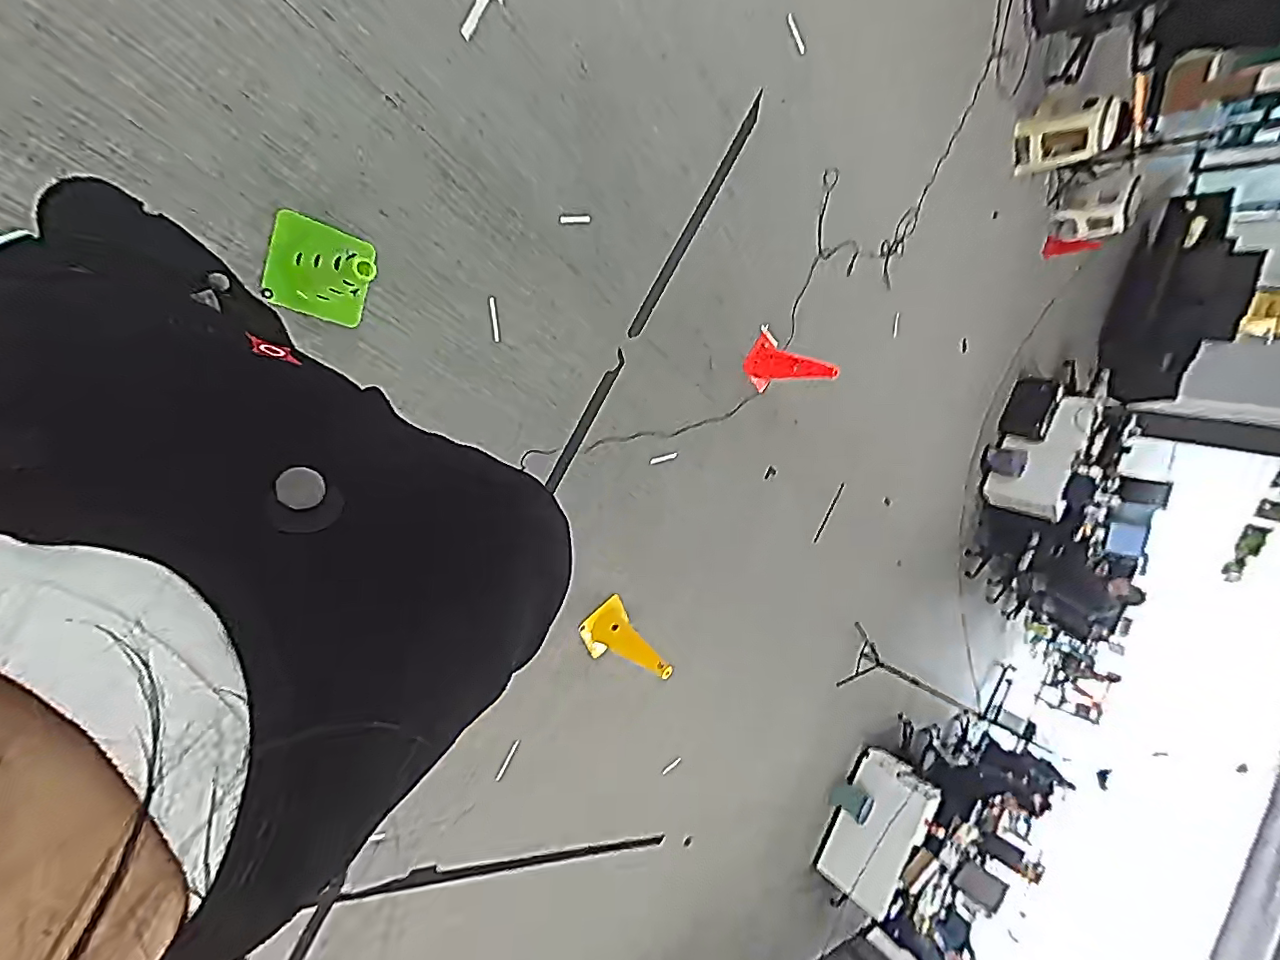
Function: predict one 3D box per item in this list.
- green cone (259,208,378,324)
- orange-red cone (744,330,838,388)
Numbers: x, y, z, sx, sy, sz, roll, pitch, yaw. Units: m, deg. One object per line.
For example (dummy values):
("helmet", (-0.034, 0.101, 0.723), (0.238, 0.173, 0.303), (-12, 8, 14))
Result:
("green cone", (-0.601, -0.428, 1.083), (0.200, 0.368, 0.202), (10, 97, -45))
("orange-red cone", (0.644, -0.476, 2.223), (0.198, 0.360, 0.199), (42, 77, -43))
